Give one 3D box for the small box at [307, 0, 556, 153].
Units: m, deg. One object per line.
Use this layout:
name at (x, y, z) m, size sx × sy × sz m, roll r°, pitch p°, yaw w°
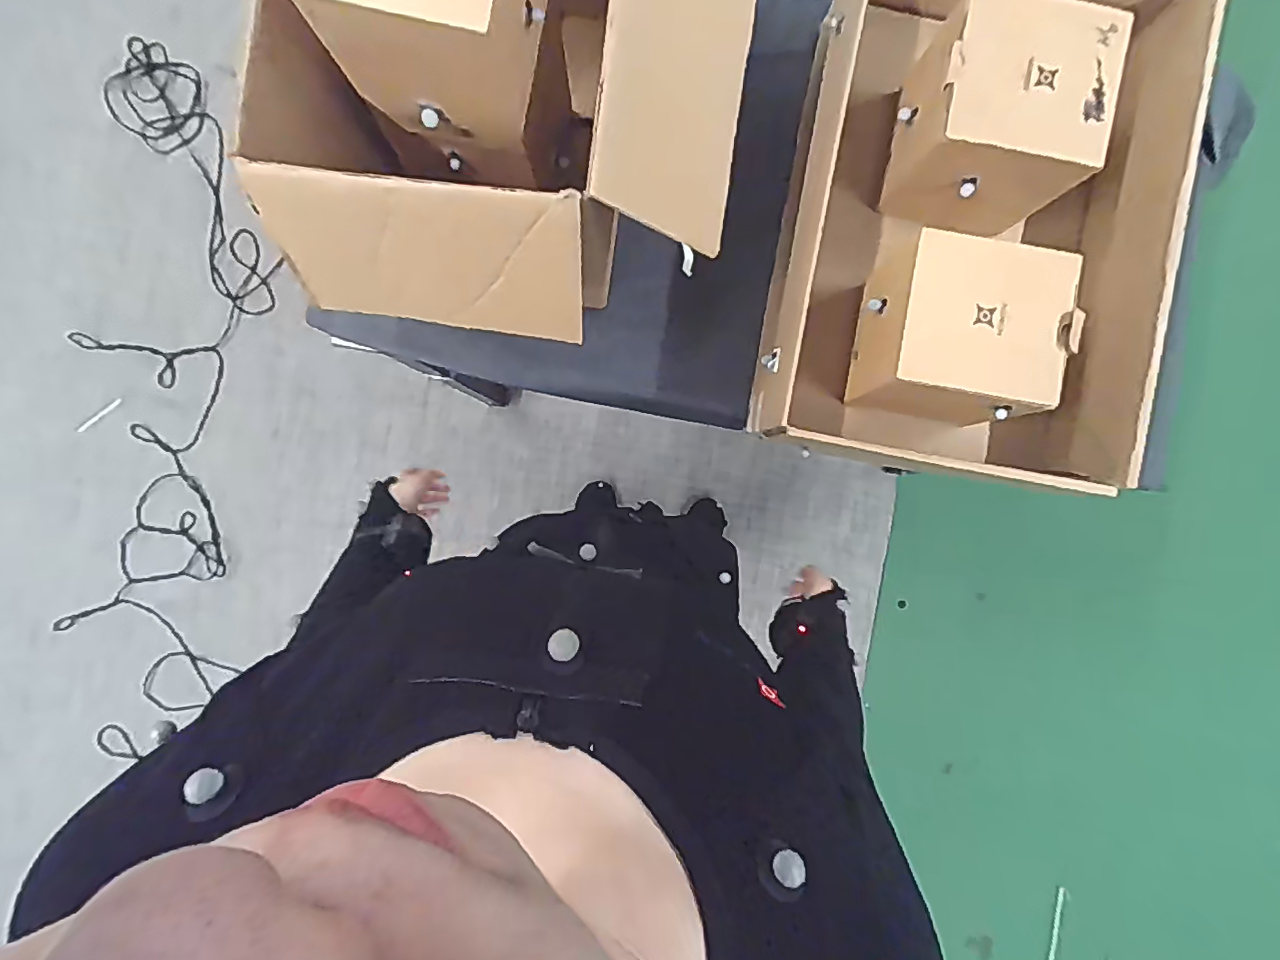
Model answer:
small box at (-0.180, -0.455, 0.508) m, size 0.168 × 0.176 × 0.179 m, roll 12°, pitch 92°, yaw -1°
